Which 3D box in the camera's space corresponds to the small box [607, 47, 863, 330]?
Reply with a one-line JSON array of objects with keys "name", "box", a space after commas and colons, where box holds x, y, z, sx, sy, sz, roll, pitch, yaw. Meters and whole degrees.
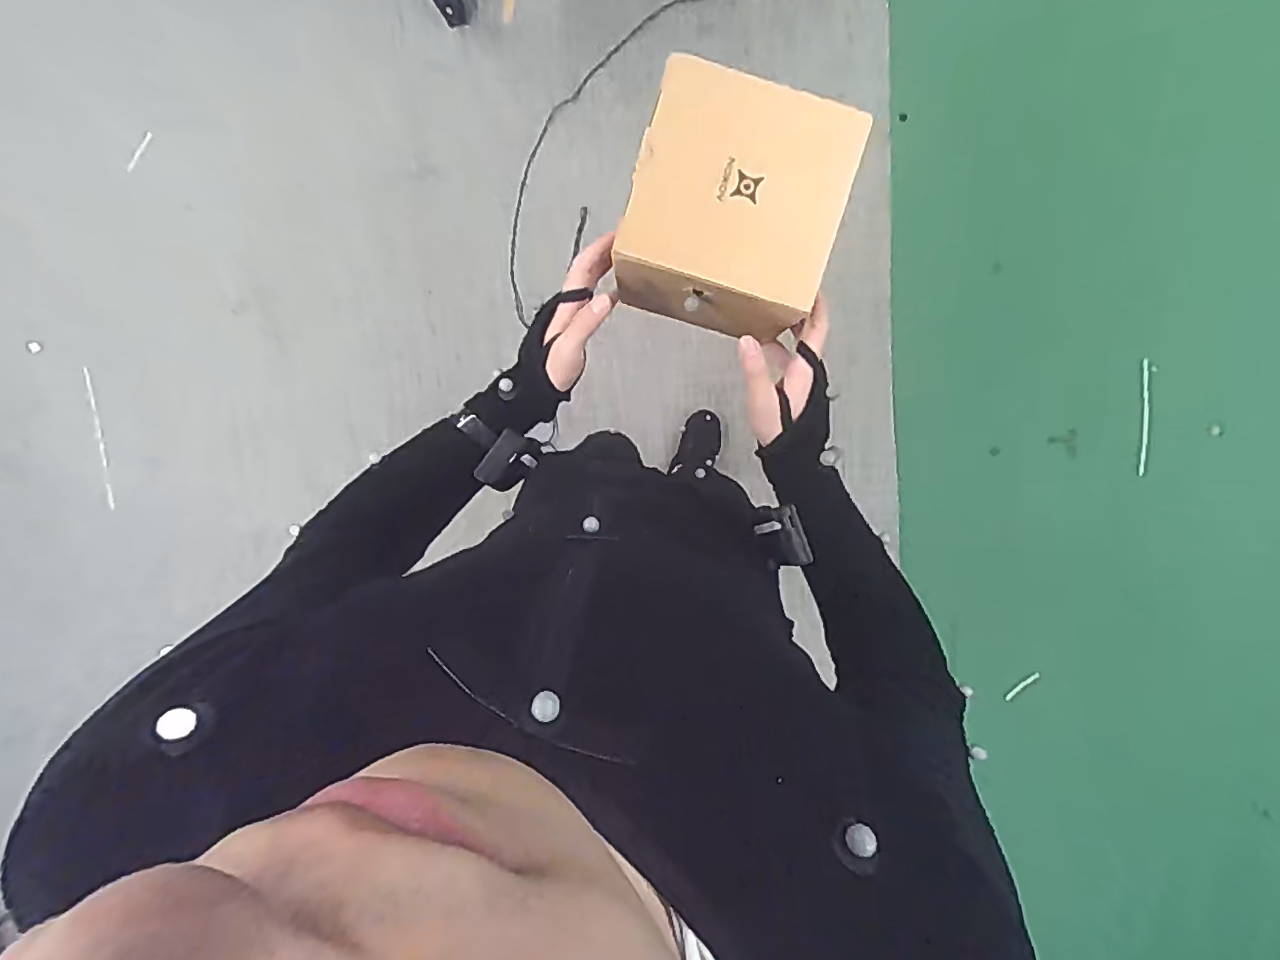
[{"name": "small box", "box": [0.078, -0.256, 0.524, 0.179, 0.176, 0.168, 16, 94, 0]}]
